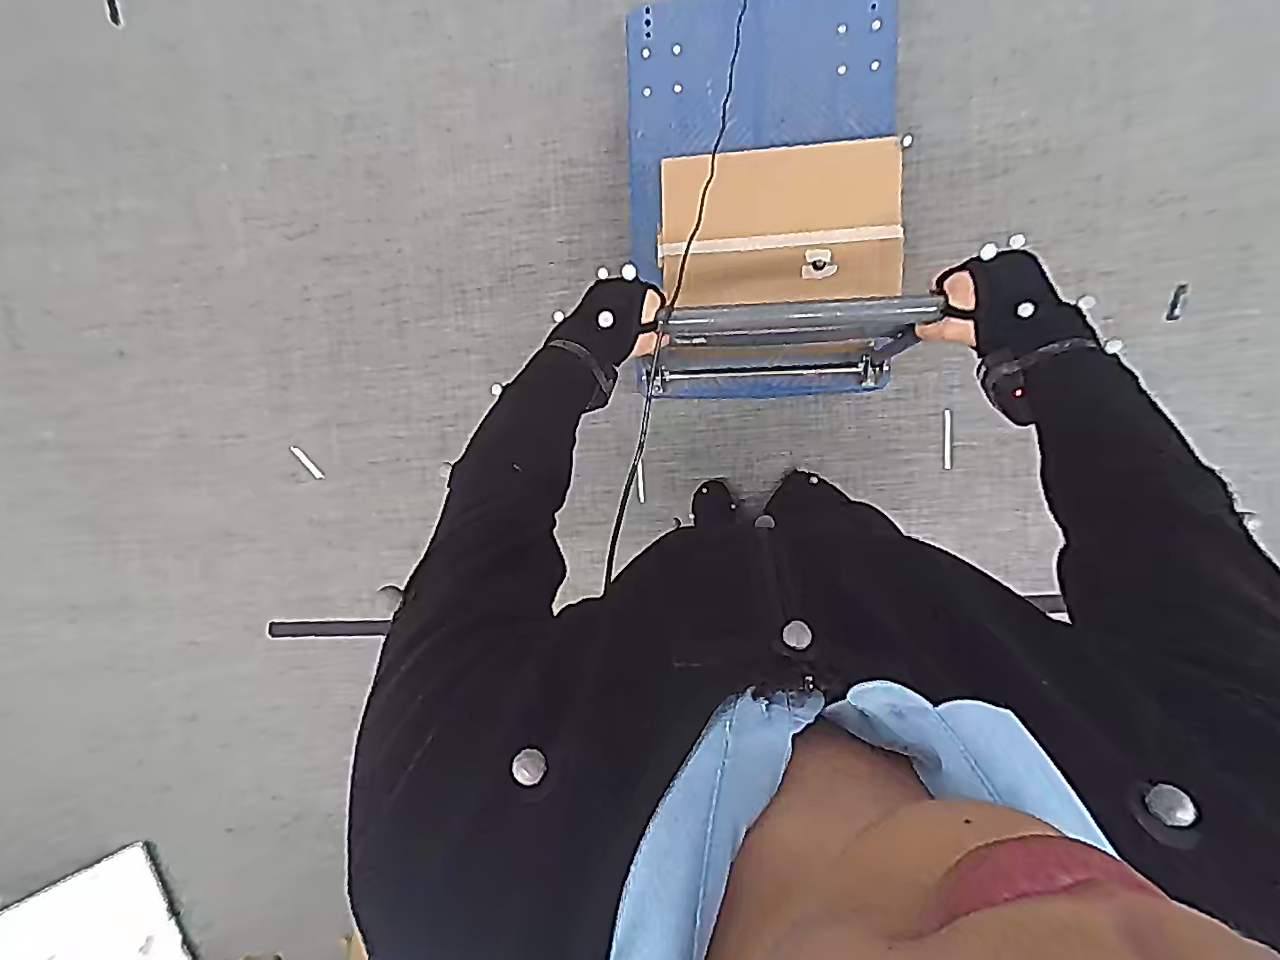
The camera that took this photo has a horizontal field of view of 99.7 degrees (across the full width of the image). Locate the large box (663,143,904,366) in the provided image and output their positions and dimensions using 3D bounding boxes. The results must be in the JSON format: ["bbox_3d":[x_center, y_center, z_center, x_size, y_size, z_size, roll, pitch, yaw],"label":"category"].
[{"bbox_3d":[0.260,-0.410,1.073,0.408,0.320,0.320,-1,95,7],"label":"large box"}]
